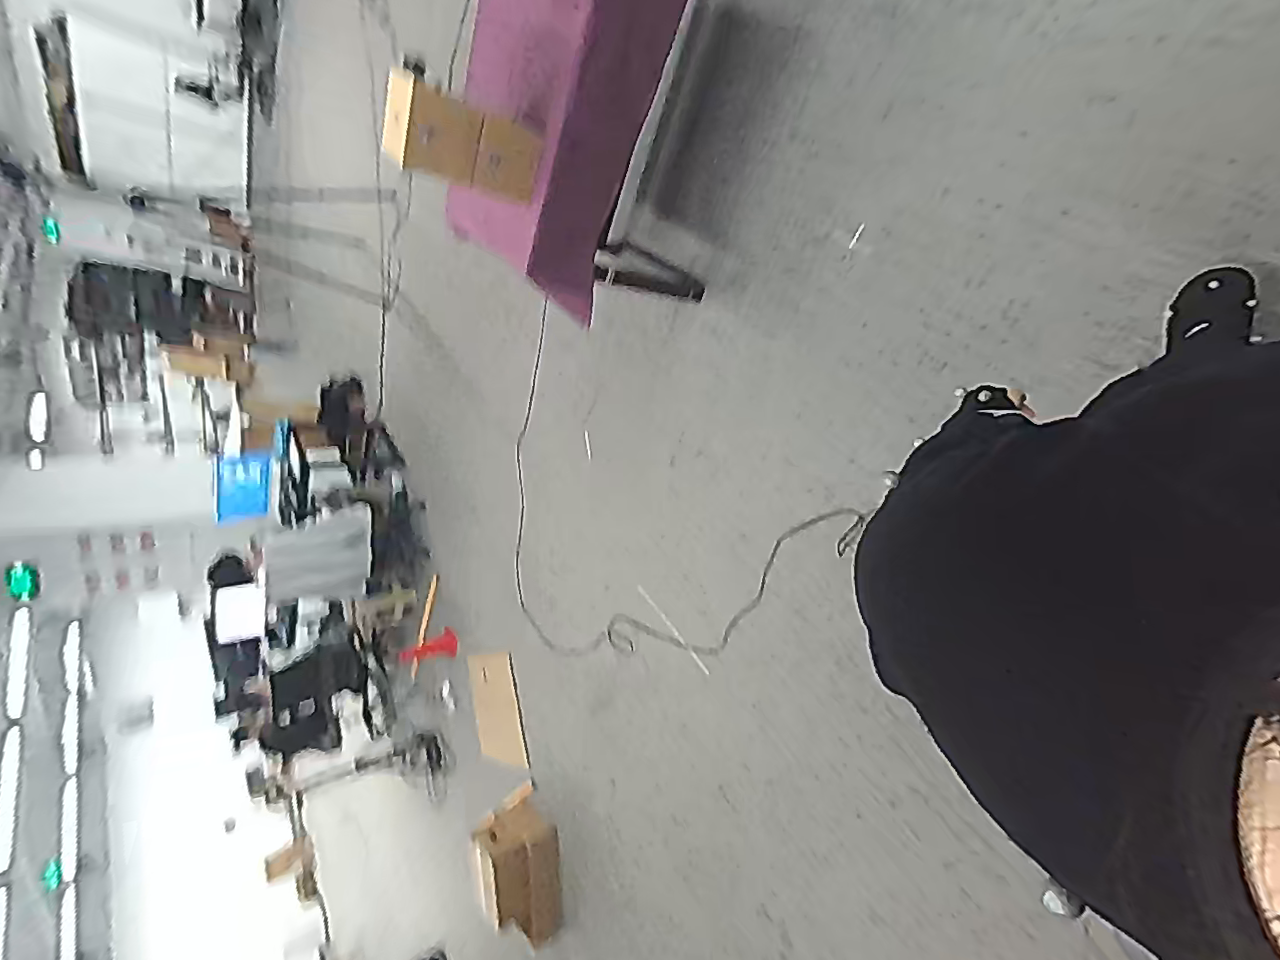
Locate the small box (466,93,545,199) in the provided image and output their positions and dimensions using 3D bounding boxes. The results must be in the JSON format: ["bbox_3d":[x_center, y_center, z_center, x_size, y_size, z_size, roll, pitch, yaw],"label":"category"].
[{"bbox_3d":[-0.369,-0.857,1.398,0.168,0.176,0.179,48,126,33],"label":"small box"}]

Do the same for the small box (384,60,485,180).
[{"bbox_3d":[-0.488,-0.850,1.287,0.168,0.176,0.179,48,128,34],"label":"small box"}]
